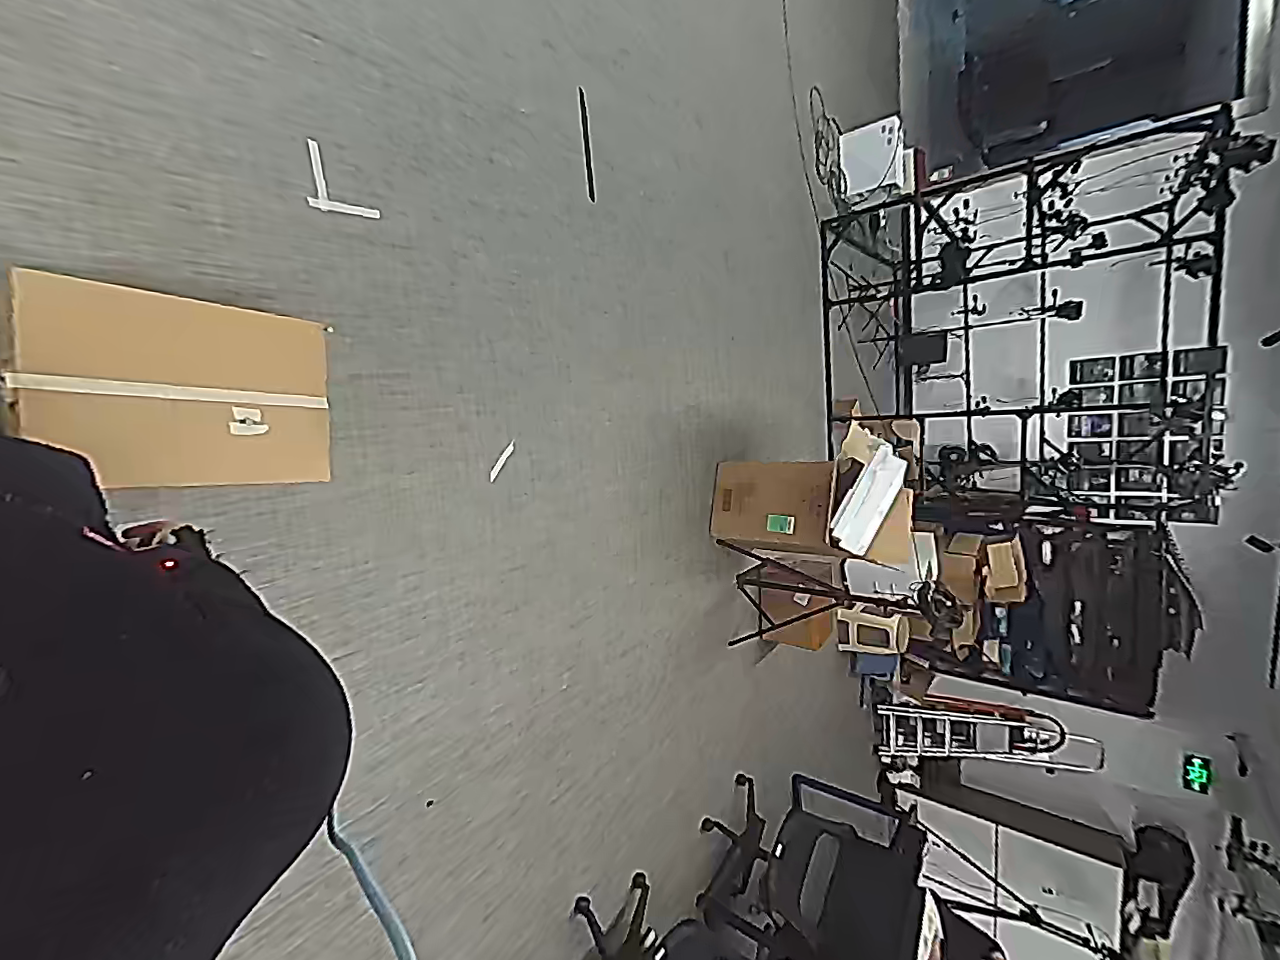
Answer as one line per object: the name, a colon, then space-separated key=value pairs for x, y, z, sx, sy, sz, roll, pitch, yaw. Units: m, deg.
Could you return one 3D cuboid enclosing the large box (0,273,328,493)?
large box: x=-0.861 y=-0.146 z=0.994 sx=0.408 sy=0.320 sz=0.320 roll=-4 pitch=94 yaw=-53
